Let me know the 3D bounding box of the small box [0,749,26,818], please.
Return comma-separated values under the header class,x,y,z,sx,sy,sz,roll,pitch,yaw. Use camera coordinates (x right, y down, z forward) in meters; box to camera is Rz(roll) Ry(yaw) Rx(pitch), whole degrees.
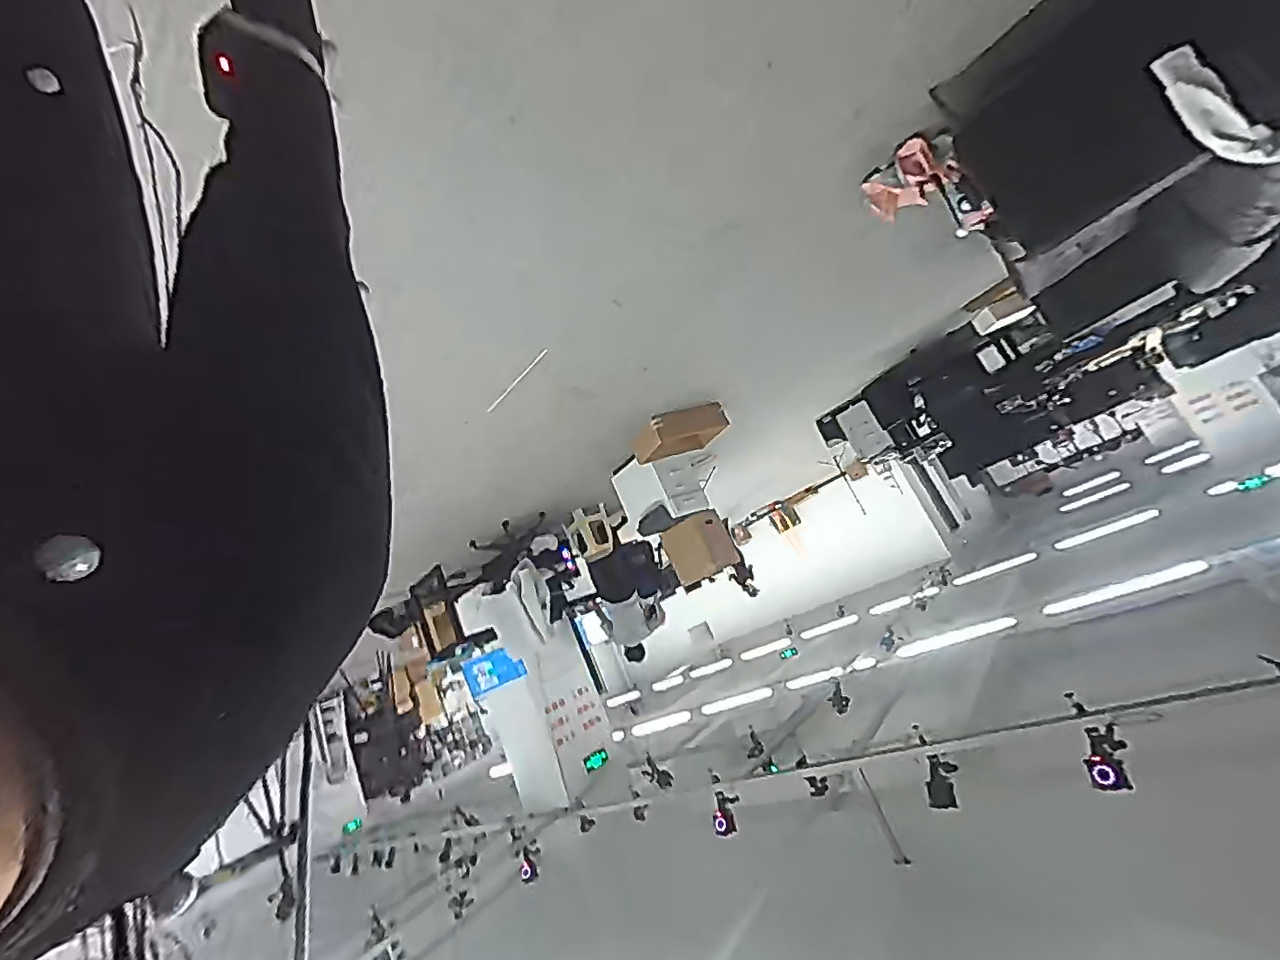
class,x,y,z,sx,sy,sz,roll,pitch,yaw
small box,-2.013,0.953,1.642,0.168,0.176,0.179,-34,164,33
